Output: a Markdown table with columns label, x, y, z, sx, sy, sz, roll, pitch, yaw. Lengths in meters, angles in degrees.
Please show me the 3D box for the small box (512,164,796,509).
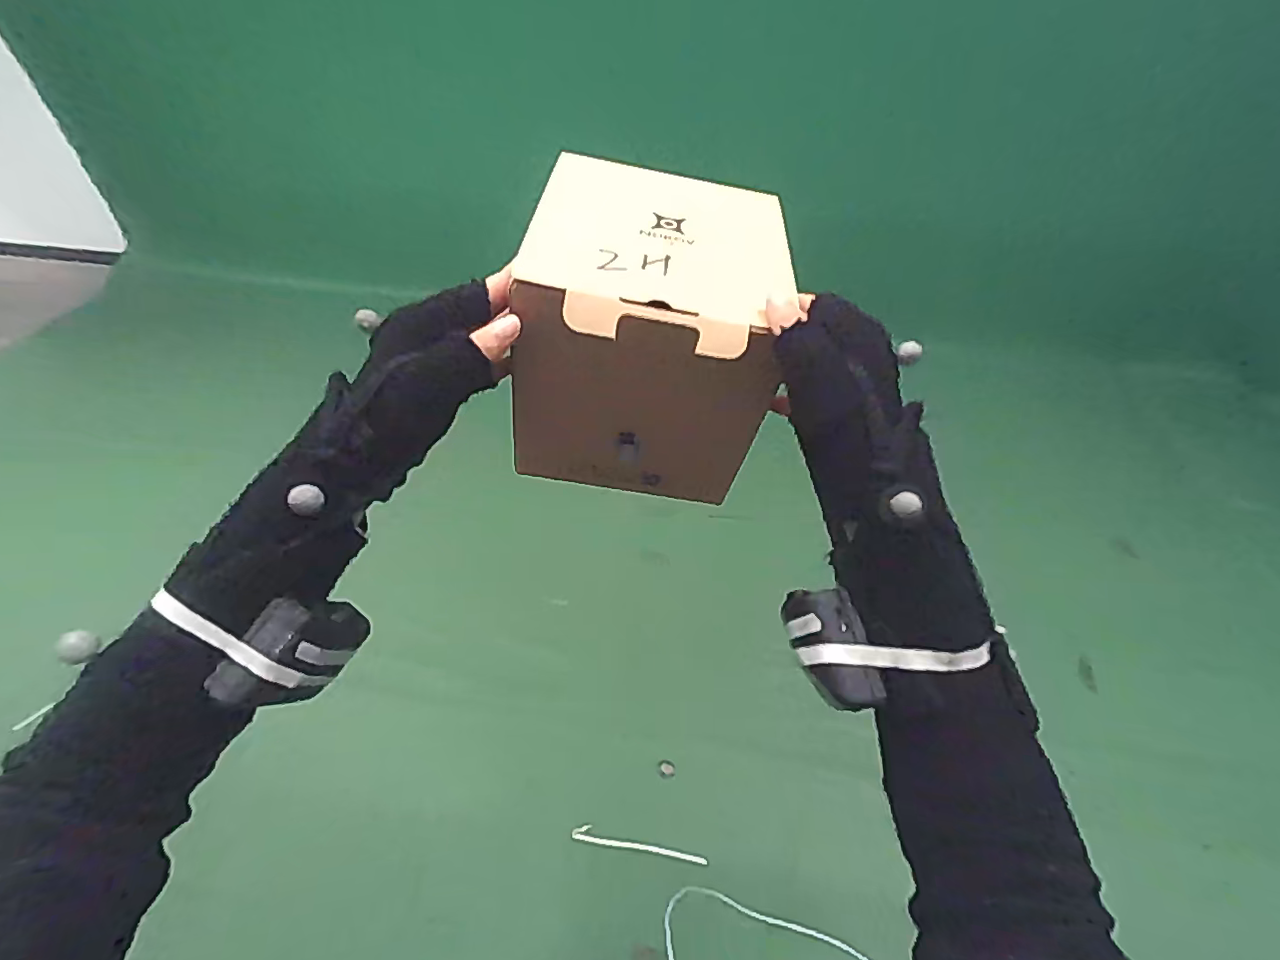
| label | x | y | z | sx | sy | sz | roll | pitch | yaw |
| --- | --- | --- | --- | --- | --- | --- | --- | --- | --- |
| small box | 0.002 | -0.105 | 0.414 | 0.168 | 0.176 | 0.179 | 9 | 50 | -4 |
